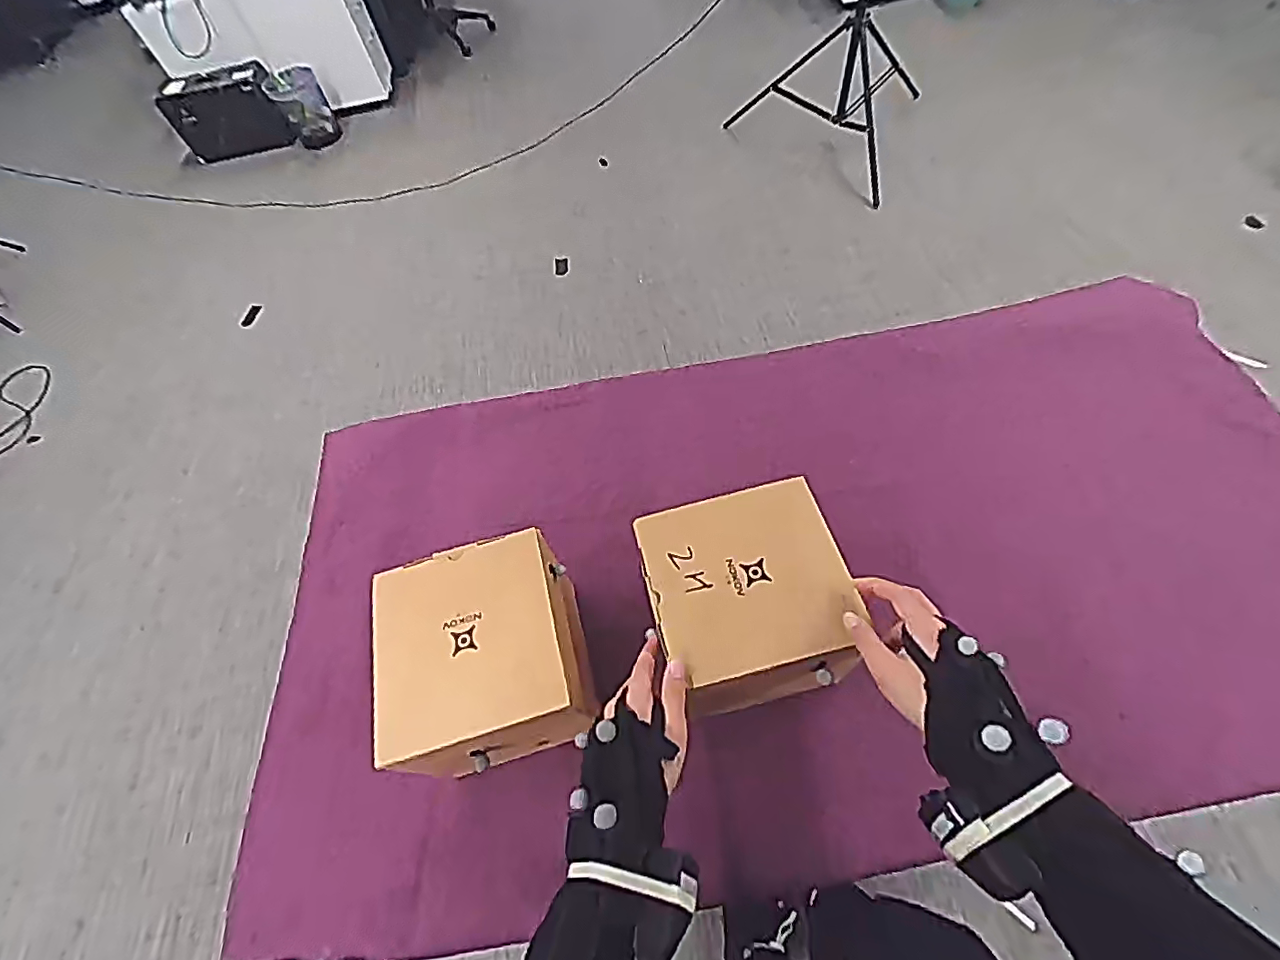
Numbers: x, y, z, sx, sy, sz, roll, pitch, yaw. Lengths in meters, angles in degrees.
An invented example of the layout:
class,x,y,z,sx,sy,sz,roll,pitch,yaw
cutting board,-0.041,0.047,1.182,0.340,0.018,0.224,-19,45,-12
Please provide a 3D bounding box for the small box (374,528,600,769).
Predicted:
class,x,y,z,sx,sy,sz,roll,pitch,yaw
small box,-0.148,0.180,0.552,0.168,0.176,0.179,-17,57,-3

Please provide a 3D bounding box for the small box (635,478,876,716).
class,x,y,z,sx,sy,sz,roll,pitch,yaw
small box,0.103,0.125,0.550,0.179,0.176,0.168,-15,57,-1
